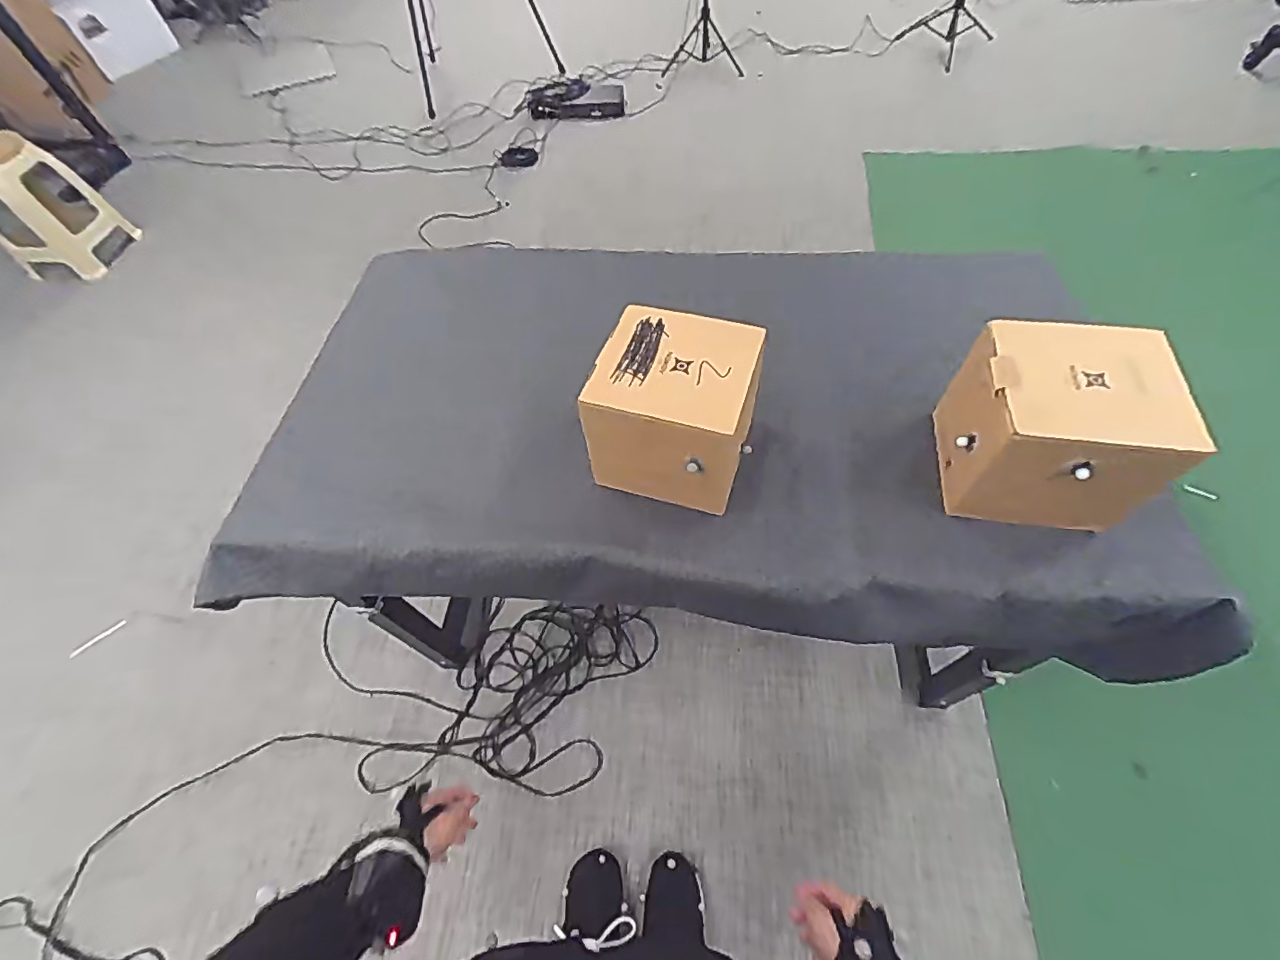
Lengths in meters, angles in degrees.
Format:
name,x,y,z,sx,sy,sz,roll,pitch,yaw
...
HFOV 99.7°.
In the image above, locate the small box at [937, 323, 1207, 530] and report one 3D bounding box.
name,x,y,z,sx,sy,sz,roll,pitch,yaw
small box,0.463,-0.057,0.623,0.179,0.176,0.168,7,59,9
